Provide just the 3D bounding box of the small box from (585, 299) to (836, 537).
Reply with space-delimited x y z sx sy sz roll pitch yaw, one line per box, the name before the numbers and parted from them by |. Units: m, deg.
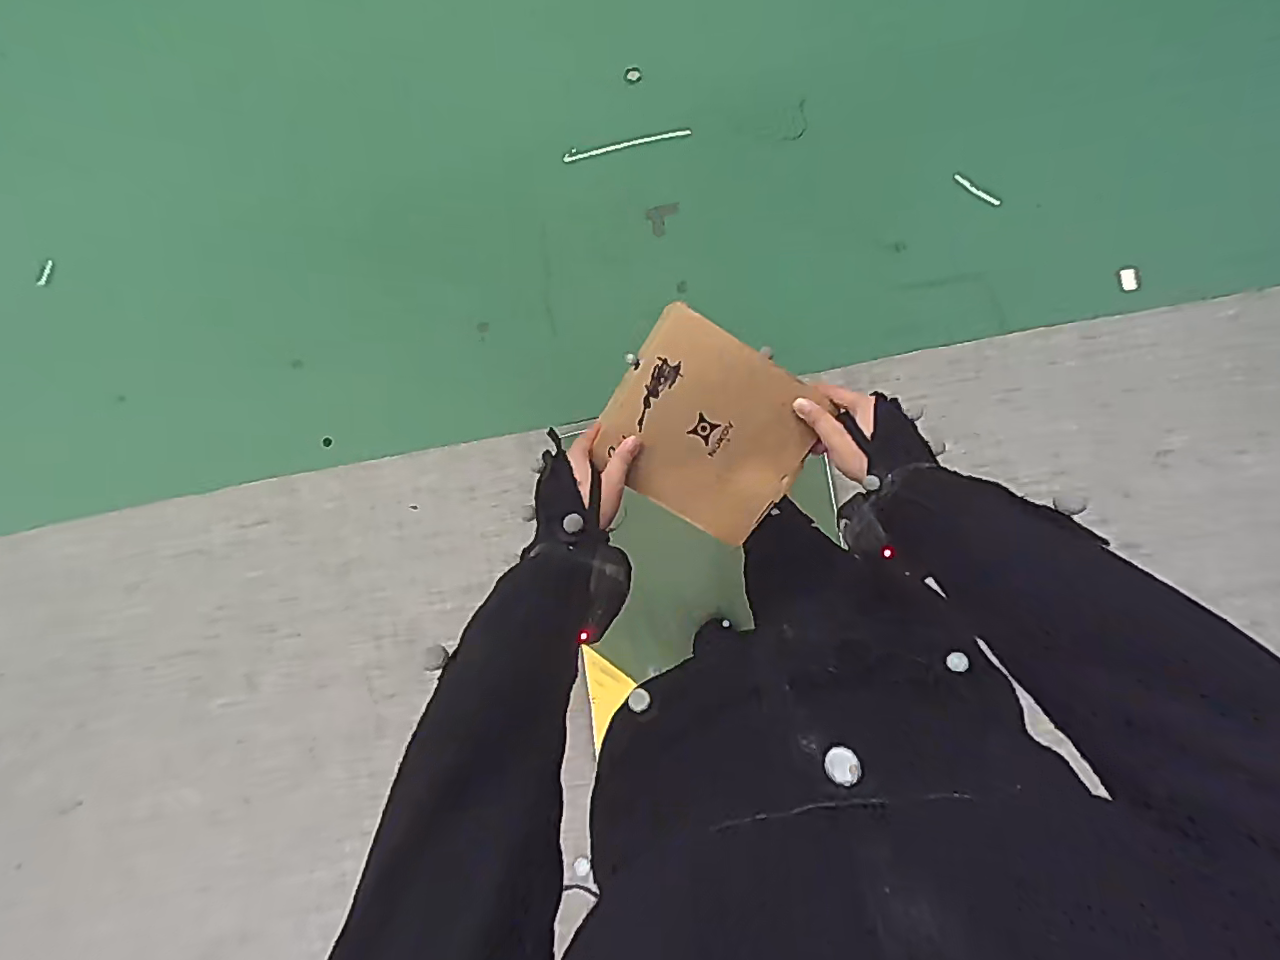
small box | 0.063 -0.075 0.570 0.179 0.176 0.168 31 105 -10
